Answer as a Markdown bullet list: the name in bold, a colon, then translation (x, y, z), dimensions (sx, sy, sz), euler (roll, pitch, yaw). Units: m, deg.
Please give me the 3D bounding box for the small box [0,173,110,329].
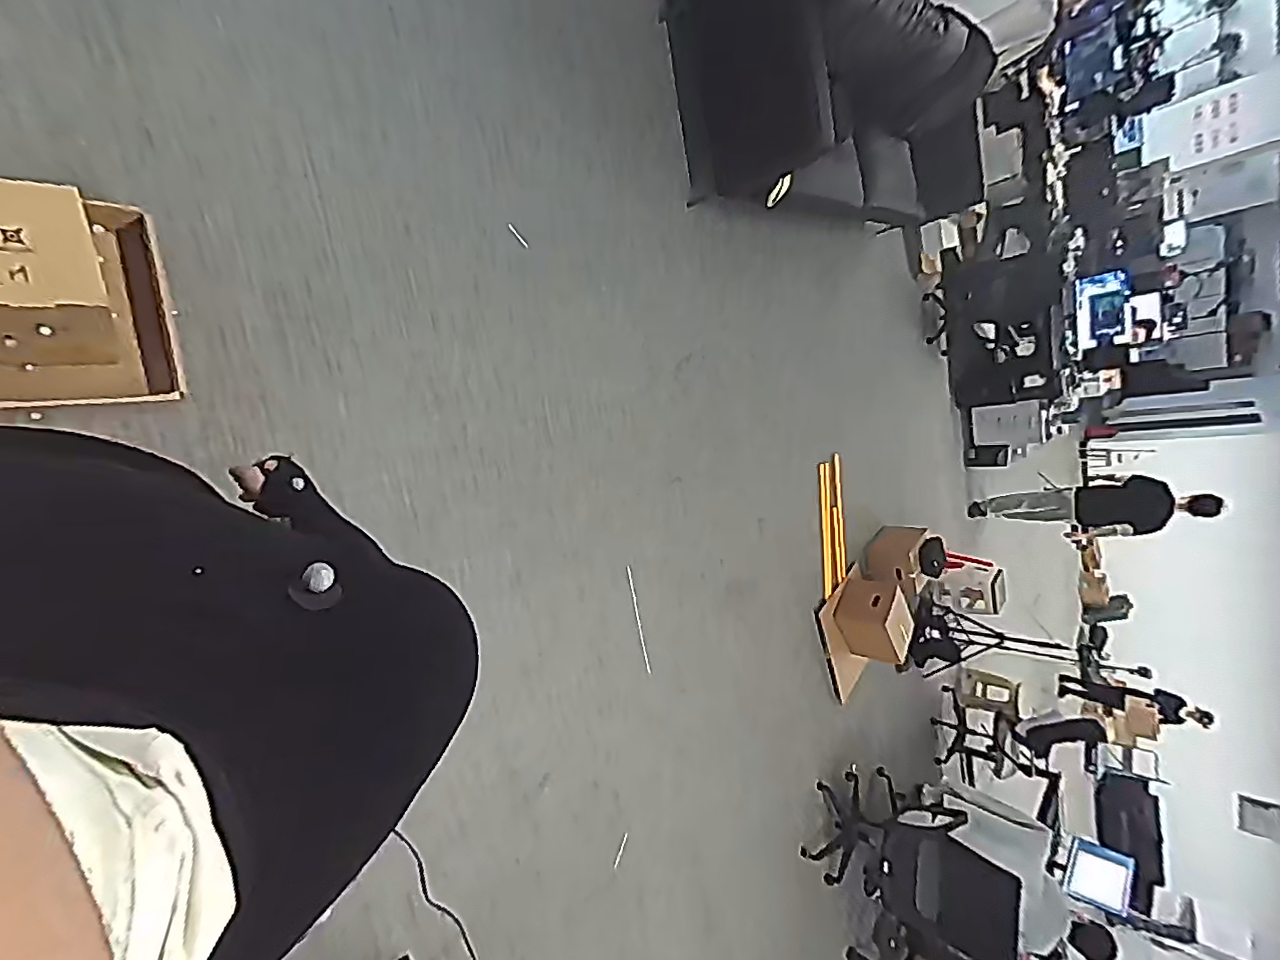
- **small box**: translation (-0.922, -0.331, 0.801), dimensions (0.168, 0.176, 0.179), euler (-16, 99, -41)
